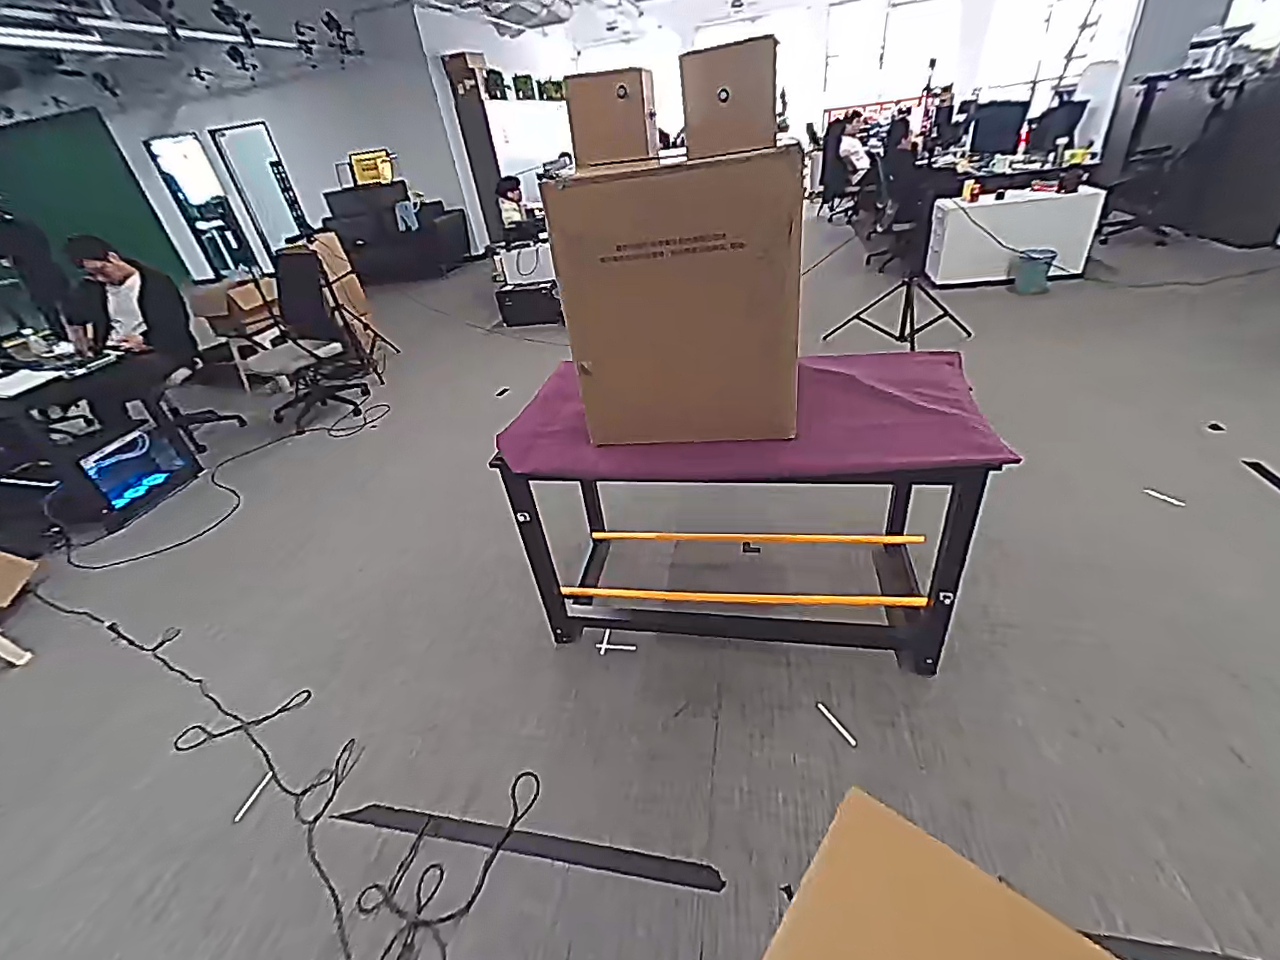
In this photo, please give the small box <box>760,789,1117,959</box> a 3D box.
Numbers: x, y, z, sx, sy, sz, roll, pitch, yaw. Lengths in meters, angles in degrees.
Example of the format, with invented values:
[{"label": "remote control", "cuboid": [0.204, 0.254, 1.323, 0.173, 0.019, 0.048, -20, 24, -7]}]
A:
[{"label": "small box", "cuboid": [0.172, 0.338, 0.324, 0.179, 0.176, 0.168, 23, 55, 37]}]
